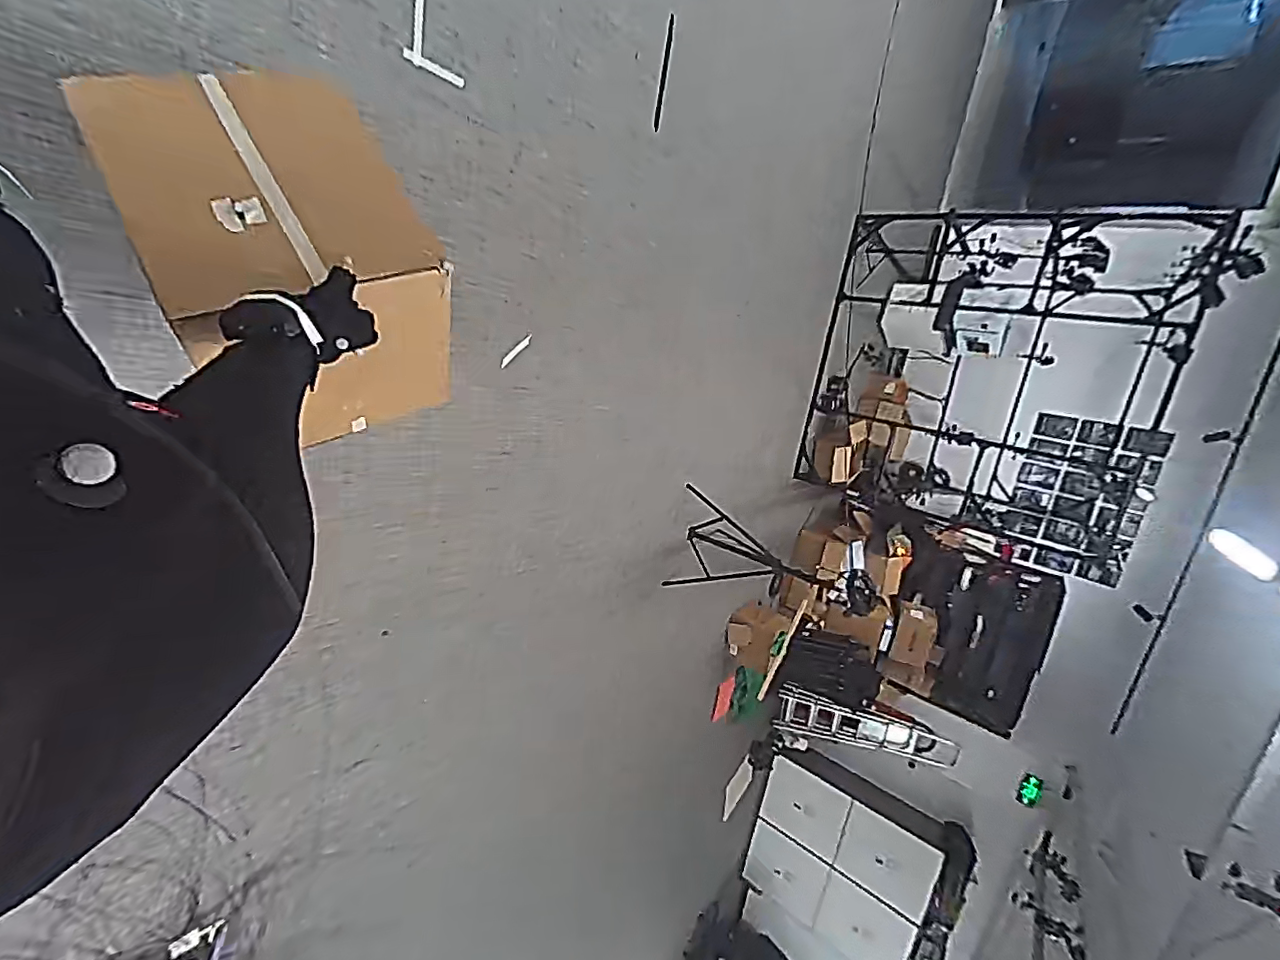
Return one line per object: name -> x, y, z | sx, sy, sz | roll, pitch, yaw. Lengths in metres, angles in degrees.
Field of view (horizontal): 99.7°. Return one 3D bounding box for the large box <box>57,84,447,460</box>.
large box -> -0.533, -0.308, 0.816 | 0.320, 0.408, 0.320 | -27, 166, -29
